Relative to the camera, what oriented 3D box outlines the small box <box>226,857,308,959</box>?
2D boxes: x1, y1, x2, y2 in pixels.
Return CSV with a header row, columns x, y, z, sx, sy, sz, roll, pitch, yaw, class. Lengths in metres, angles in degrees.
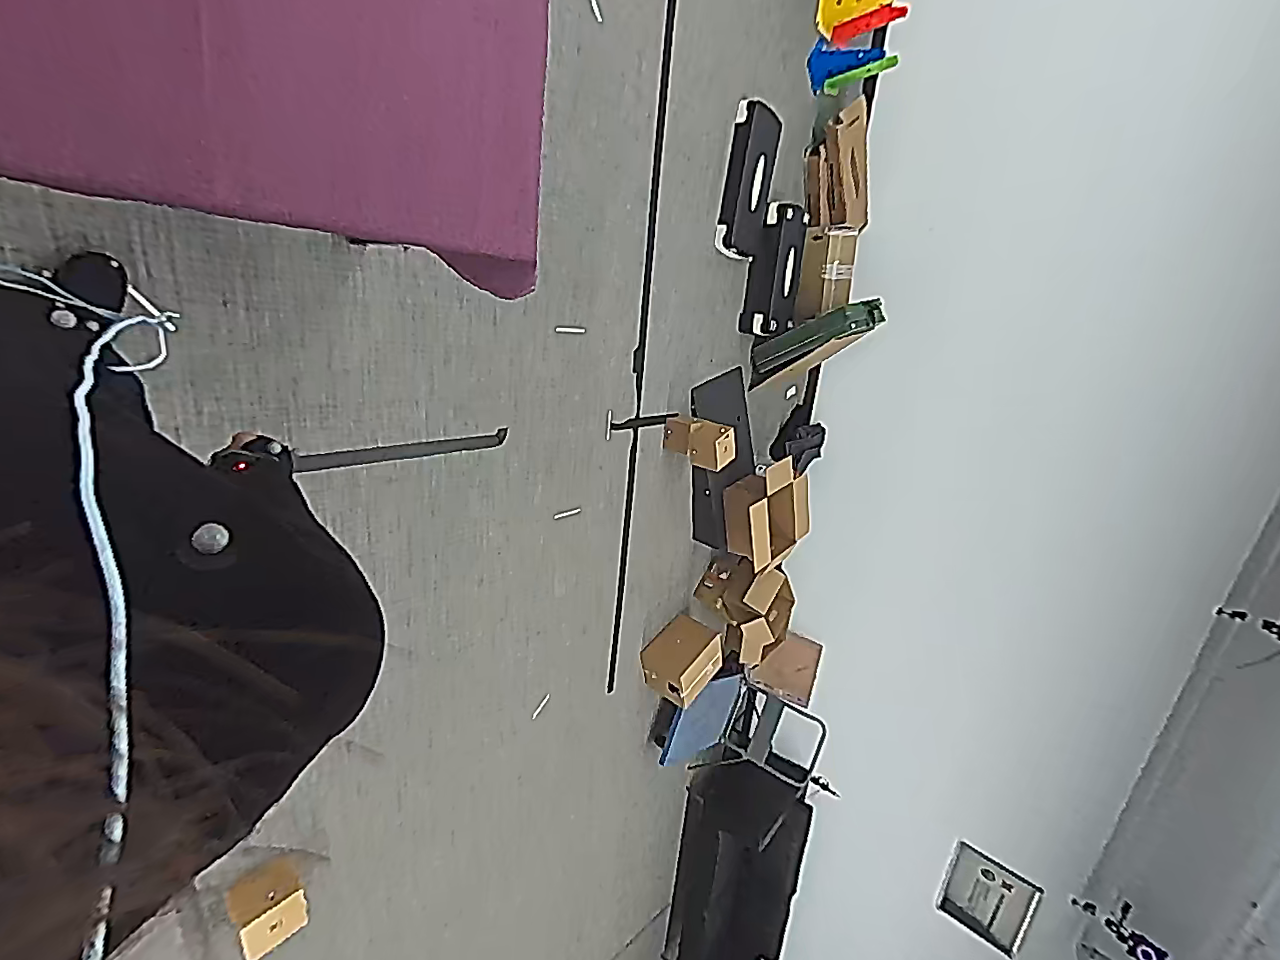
x,y,z,sx,sy,sz,roll,pitch,yaw,class
-1.208,1.387,1.747,0.179,0.176,0.168,-18,119,-48,small box
